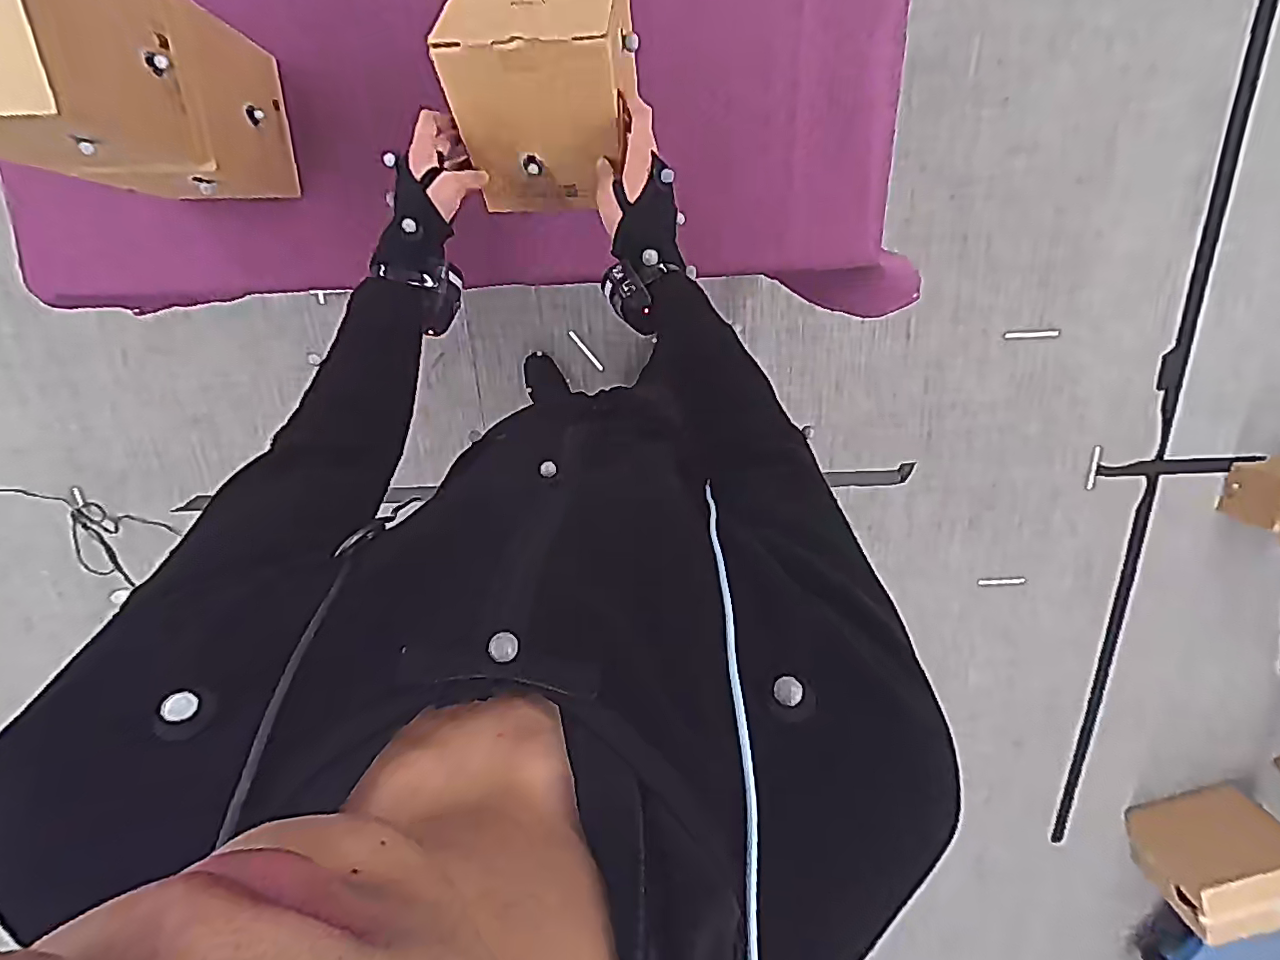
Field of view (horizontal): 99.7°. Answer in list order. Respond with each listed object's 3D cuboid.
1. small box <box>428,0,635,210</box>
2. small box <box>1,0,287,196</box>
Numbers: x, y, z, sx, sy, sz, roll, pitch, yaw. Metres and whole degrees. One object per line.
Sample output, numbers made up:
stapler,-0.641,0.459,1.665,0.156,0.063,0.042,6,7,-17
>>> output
small box,-0.097,-0.422,0.580,0.168,0.176,0.179,1,66,6
small box,-0.554,-0.443,0.641,0.179,0.176,0.168,-1,109,-1
